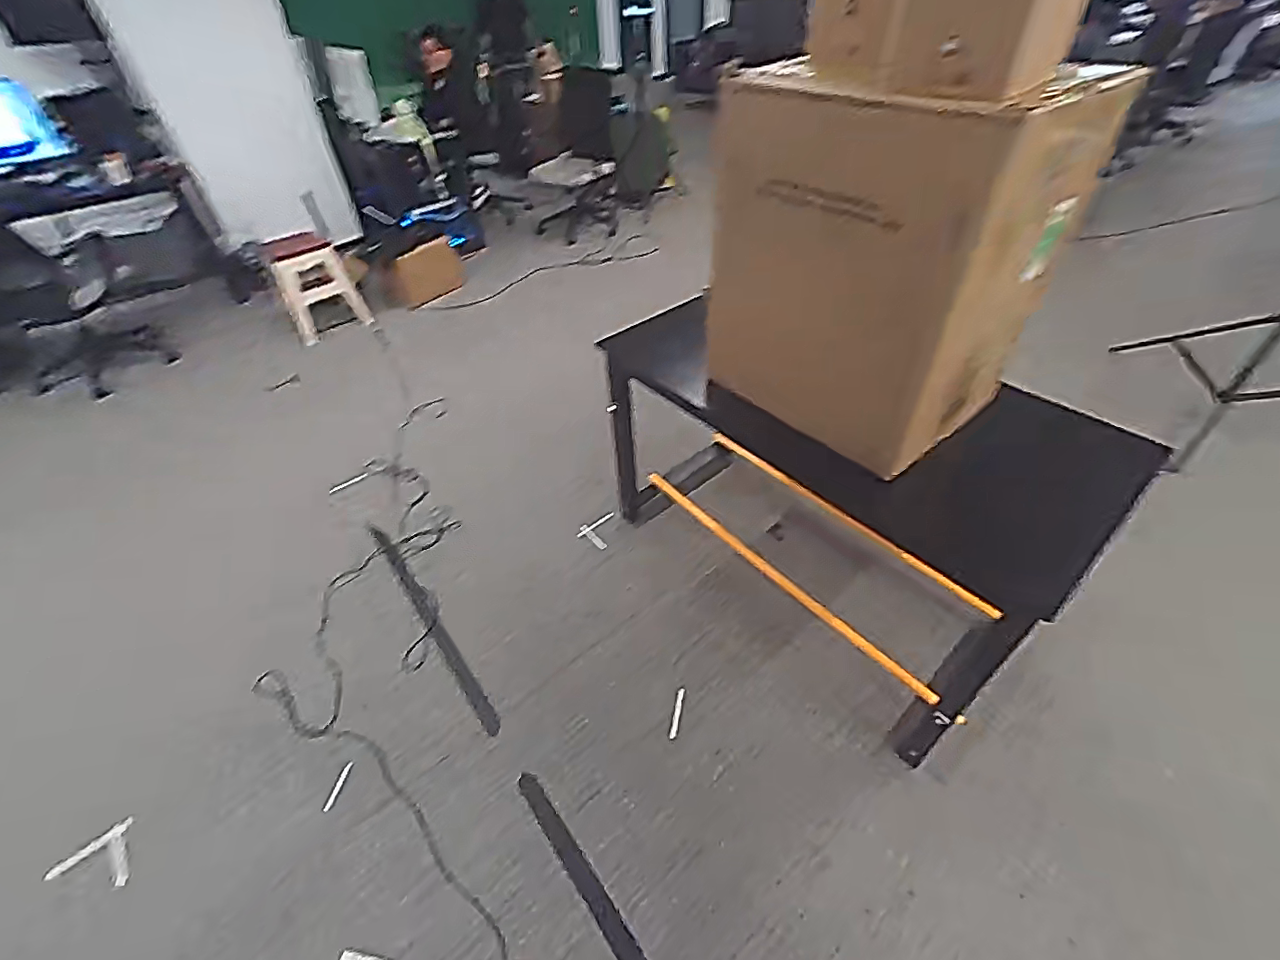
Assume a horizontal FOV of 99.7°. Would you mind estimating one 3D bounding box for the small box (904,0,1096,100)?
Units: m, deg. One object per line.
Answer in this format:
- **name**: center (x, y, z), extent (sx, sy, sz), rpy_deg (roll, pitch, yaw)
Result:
- **small box**: center (0.480, -0.624, 0.714), extent (0.179, 0.176, 0.168), rpy_deg (-34, 50, -26)
